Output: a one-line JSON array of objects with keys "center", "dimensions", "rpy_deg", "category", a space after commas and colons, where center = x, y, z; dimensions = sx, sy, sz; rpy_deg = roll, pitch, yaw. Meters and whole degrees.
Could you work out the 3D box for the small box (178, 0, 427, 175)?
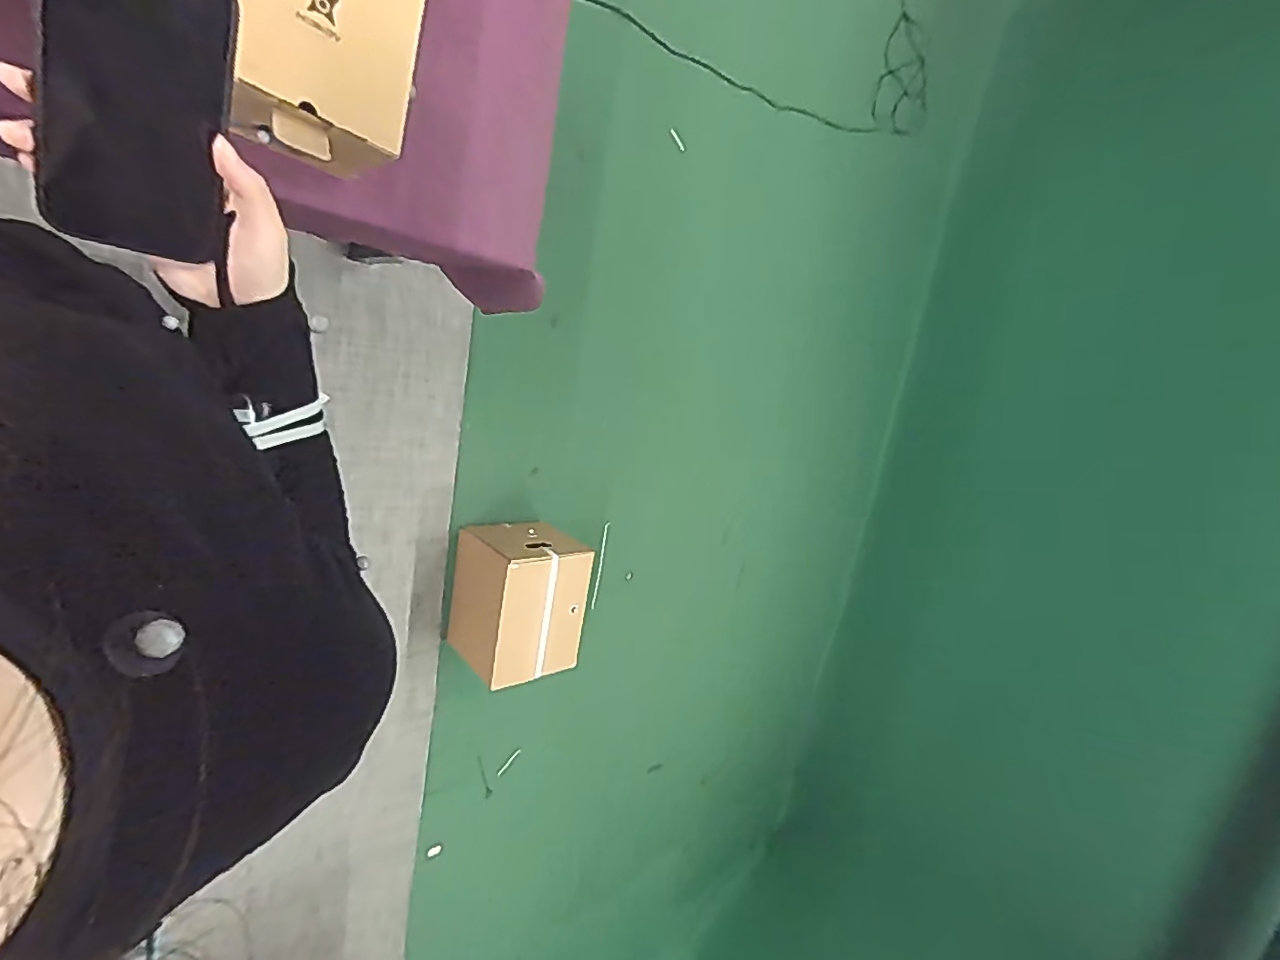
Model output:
[{"center": [-0.332, -0.430, 0.528], "dimensions": [0.168, 0.176, 0.179], "rpy_deg": [5, 103, -45], "category": "small box"}]
